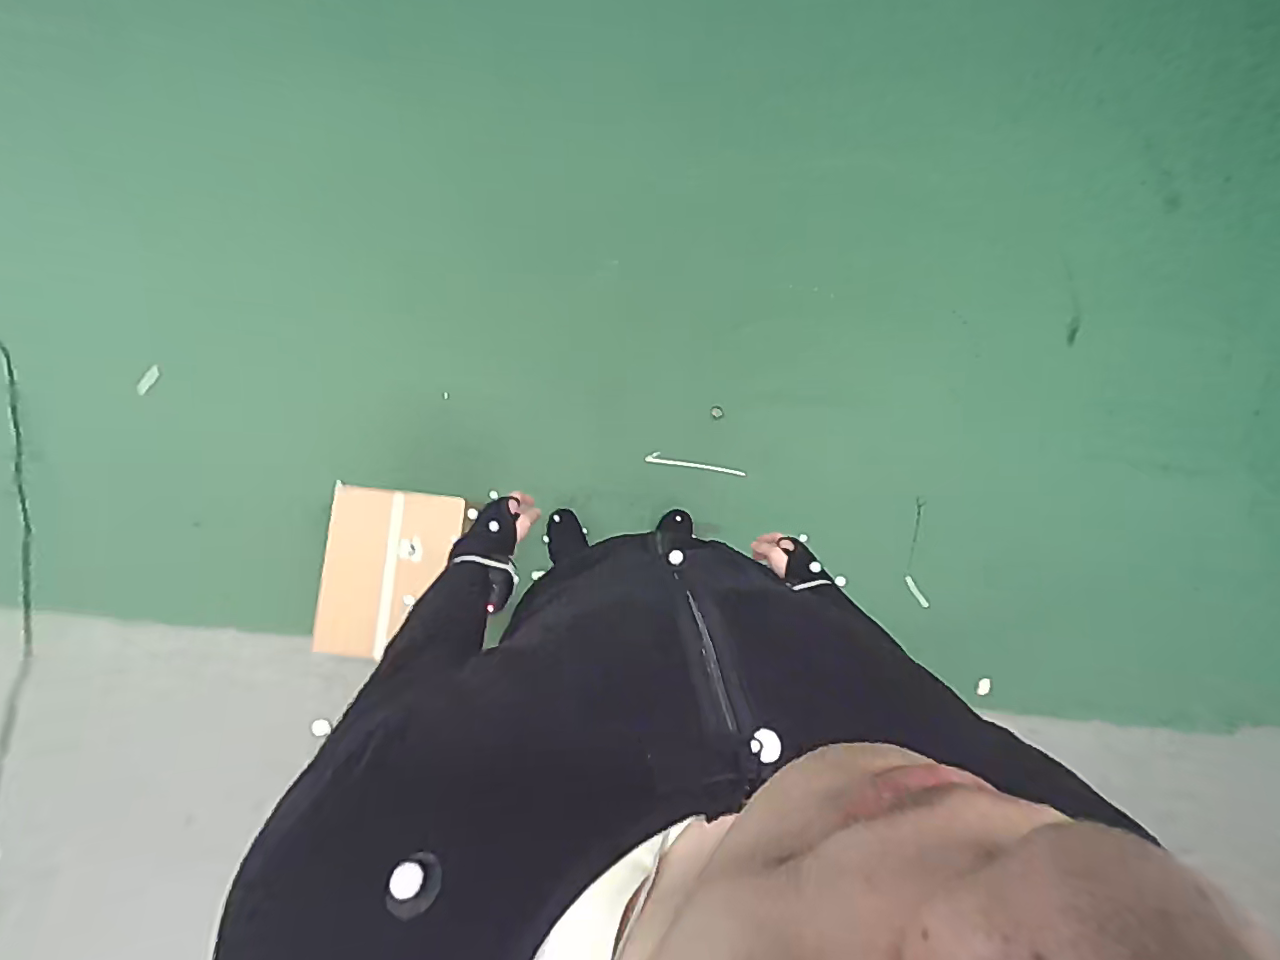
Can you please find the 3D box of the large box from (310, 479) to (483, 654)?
[{"bbox_3d":[-0.626,0.220,1.452,0.320,0.320,0.408,7,86,-5],"label":"large box"}]
